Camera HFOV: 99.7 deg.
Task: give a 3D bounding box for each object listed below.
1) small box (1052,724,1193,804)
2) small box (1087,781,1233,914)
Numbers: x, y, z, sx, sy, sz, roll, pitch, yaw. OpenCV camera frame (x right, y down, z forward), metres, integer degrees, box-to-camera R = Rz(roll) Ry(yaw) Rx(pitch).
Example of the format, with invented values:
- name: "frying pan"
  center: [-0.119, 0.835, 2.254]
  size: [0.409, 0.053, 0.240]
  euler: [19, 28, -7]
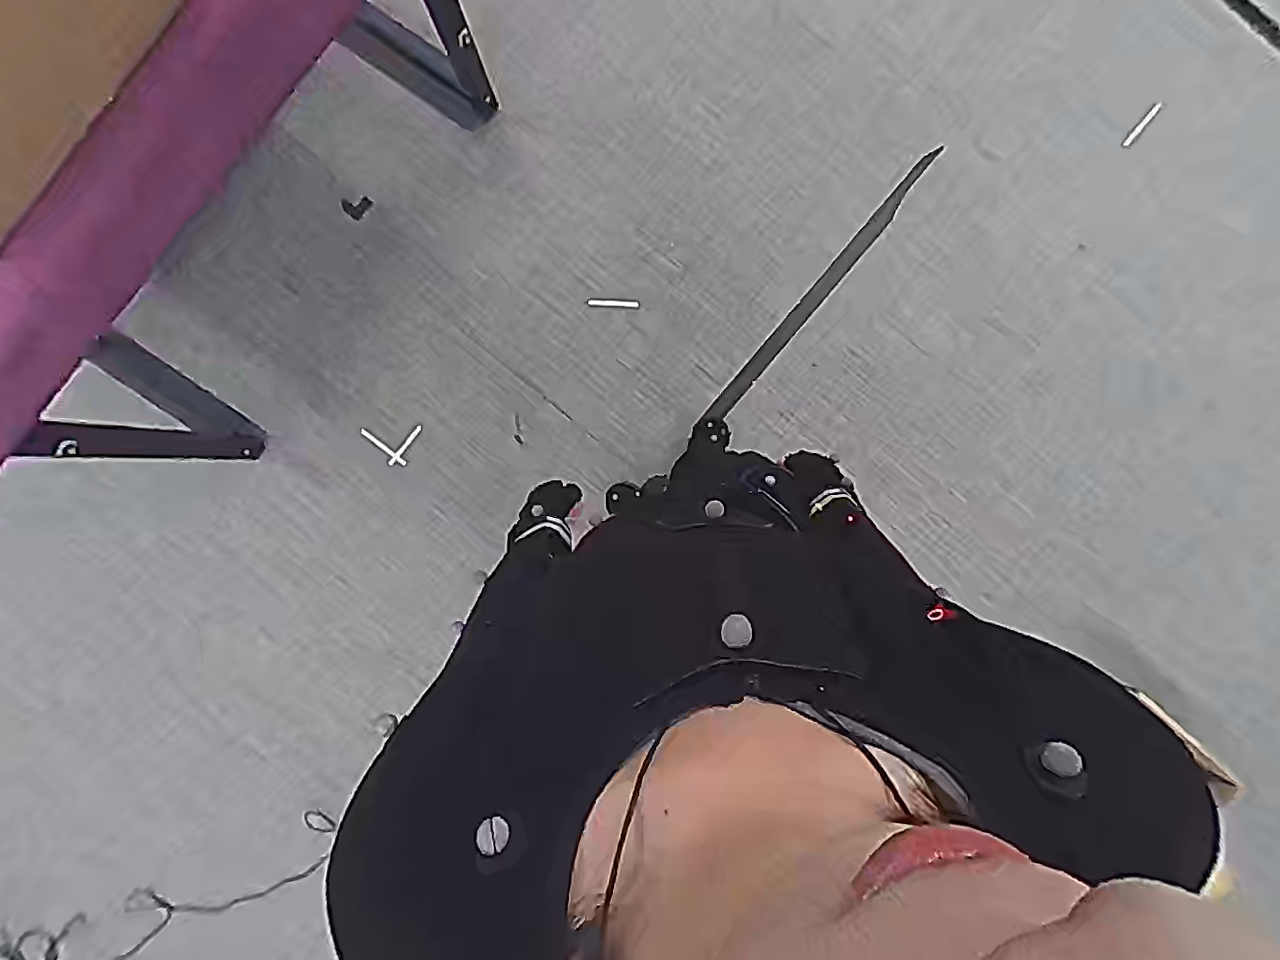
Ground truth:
- name: "small box"
  center: [1.253, 0.780, 1.417]
  size: [0.179, 0.176, 0.168]
  euler: [38, 92, -1]
- name: "small box"
  center: [1.190, 0.843, 1.256]
  size: [0.179, 0.176, 0.168]
  euler: [-17, 94, -2]
